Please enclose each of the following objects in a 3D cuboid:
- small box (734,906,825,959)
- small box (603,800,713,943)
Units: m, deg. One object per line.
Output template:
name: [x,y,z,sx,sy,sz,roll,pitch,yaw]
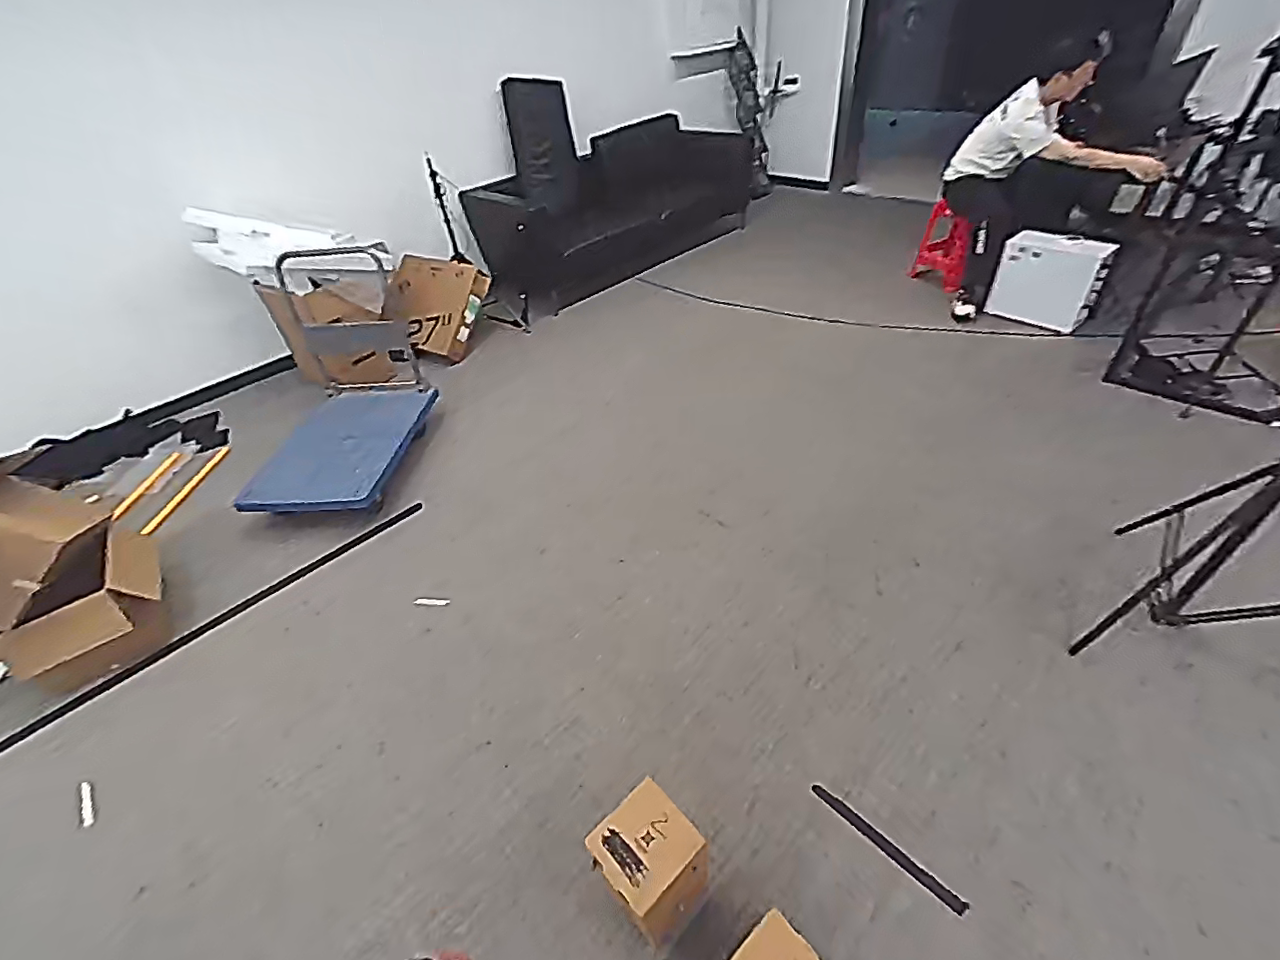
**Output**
small box: [0.266,0.971,1.024,0.179,0.176,0.168,-32,47,-26]
small box: [0.042,0.862,1.192,0.179,0.176,0.168,-33,46,-26]
